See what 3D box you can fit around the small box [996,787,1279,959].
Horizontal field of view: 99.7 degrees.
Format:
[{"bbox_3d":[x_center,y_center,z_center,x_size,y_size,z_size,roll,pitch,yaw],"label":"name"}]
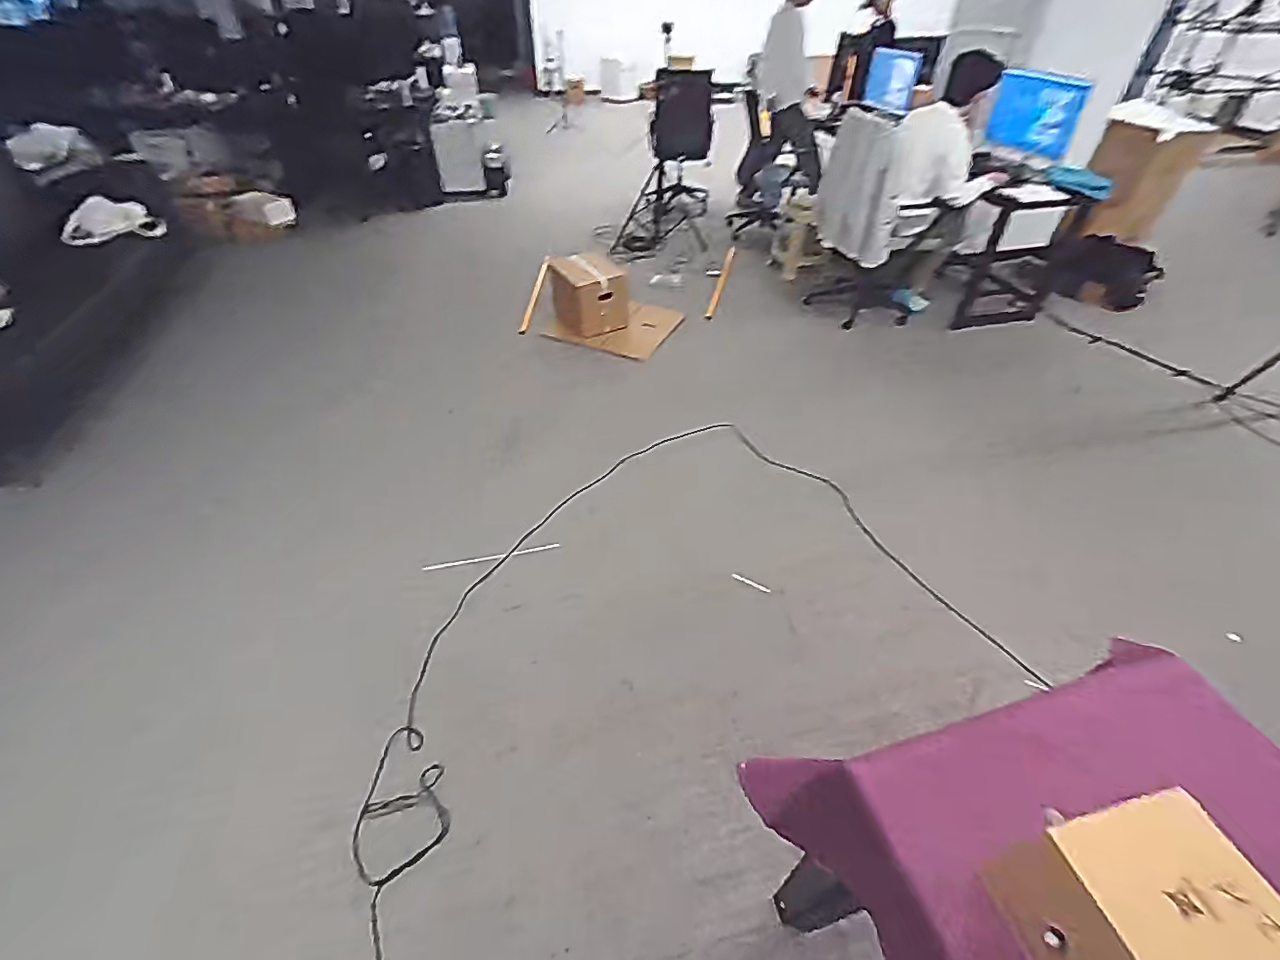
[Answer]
[{"bbox_3d":[0.507,0.447,0.551,0.179,0.176,0.168,-8,44,-10],"label":"small box"}]
